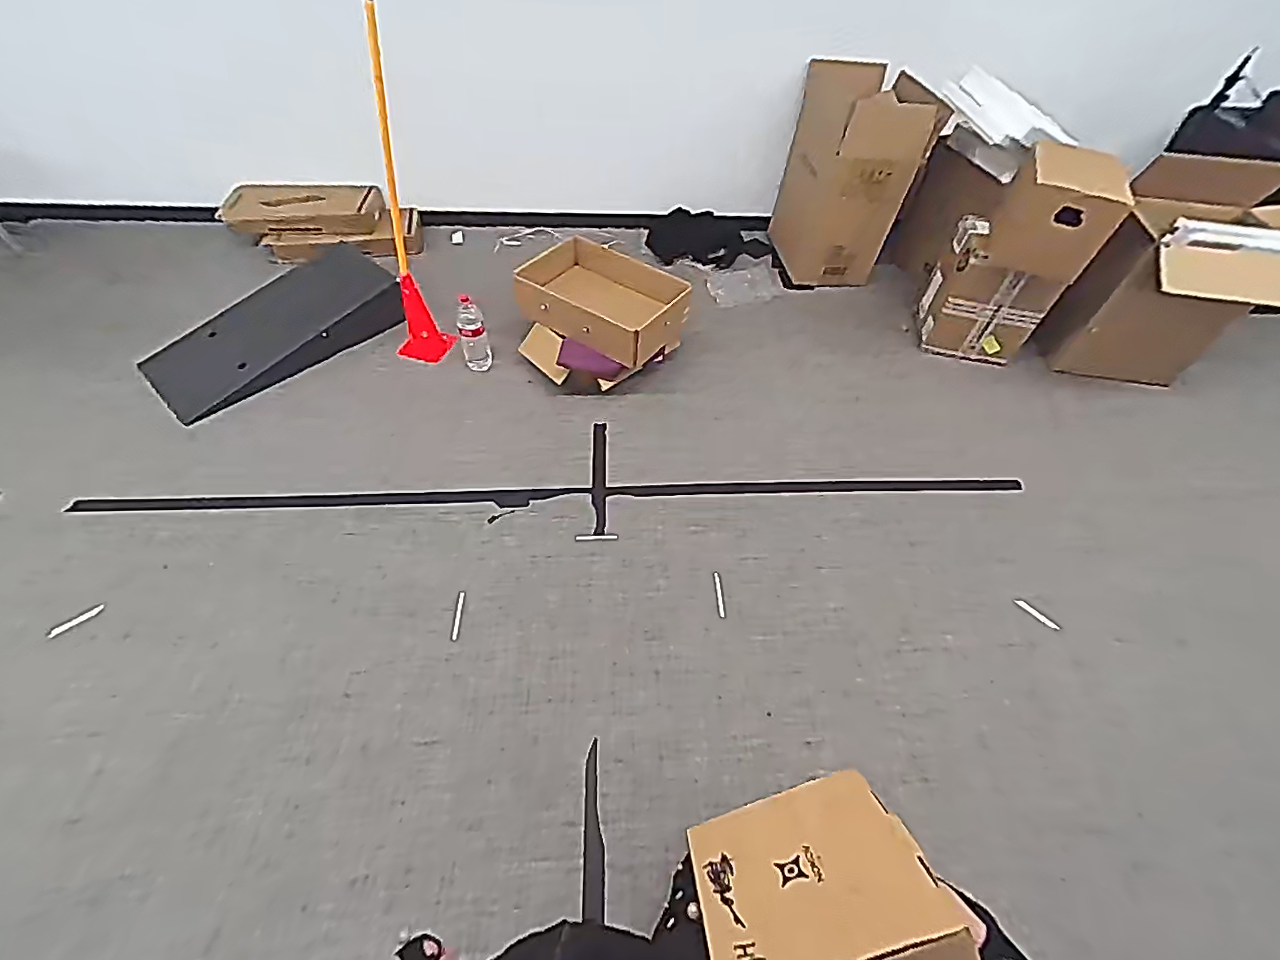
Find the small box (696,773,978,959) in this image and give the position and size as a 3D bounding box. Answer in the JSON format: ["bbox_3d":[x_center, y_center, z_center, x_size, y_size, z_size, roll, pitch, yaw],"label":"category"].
[{"bbox_3d":[0.165,0.398,0.457,0.179,0.168,0.176,-19,96,-1],"label":"small box"}]
